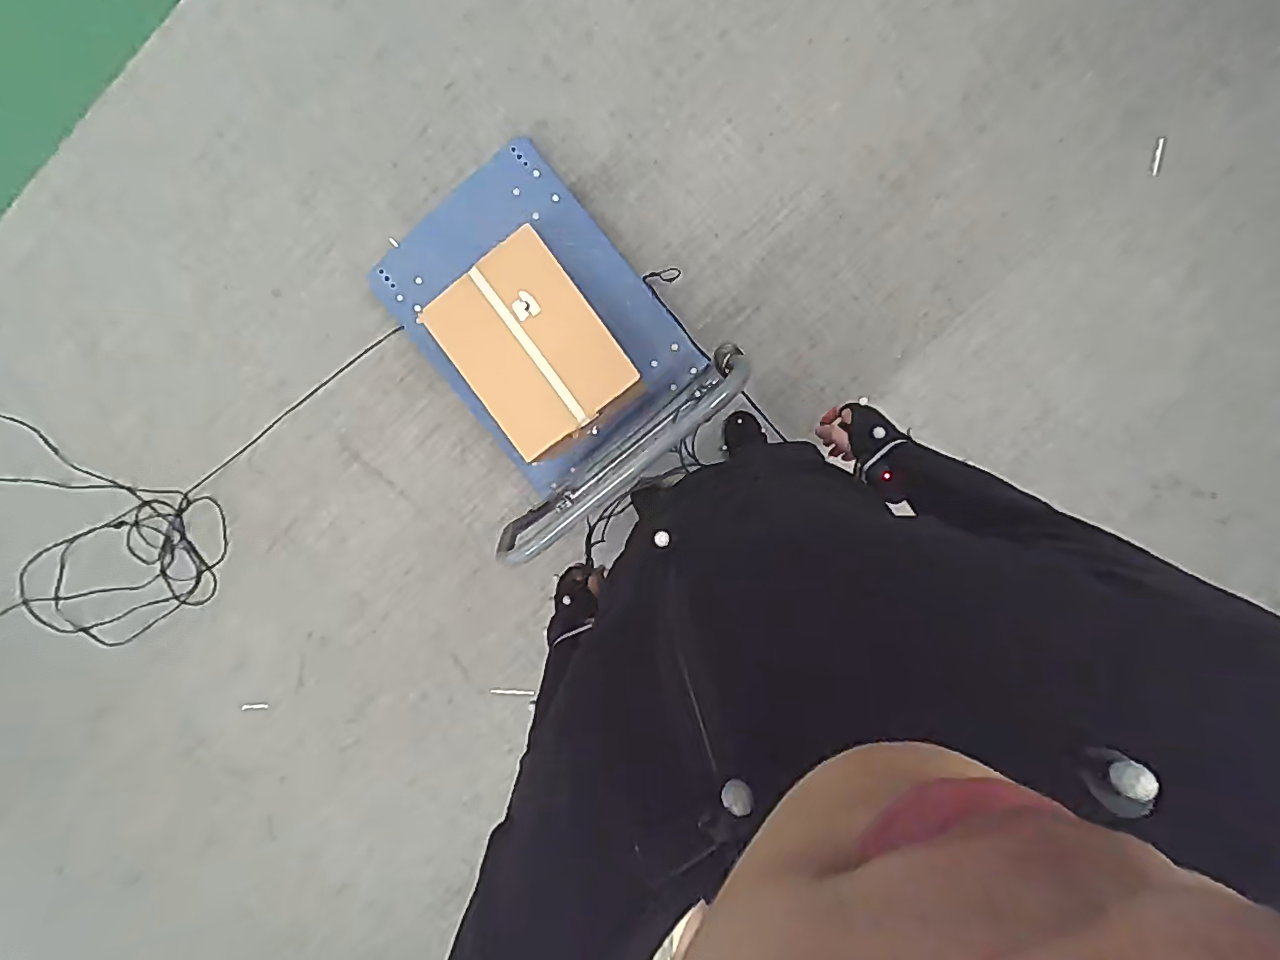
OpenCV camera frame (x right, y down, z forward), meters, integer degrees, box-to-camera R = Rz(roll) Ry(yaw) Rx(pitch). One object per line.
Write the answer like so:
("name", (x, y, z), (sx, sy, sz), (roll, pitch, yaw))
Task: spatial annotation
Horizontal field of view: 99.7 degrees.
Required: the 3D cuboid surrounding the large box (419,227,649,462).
("large box", (-0.223, -0.295, 1.290), (0.320, 0.320, 0.408), (-36, 91, 6))
